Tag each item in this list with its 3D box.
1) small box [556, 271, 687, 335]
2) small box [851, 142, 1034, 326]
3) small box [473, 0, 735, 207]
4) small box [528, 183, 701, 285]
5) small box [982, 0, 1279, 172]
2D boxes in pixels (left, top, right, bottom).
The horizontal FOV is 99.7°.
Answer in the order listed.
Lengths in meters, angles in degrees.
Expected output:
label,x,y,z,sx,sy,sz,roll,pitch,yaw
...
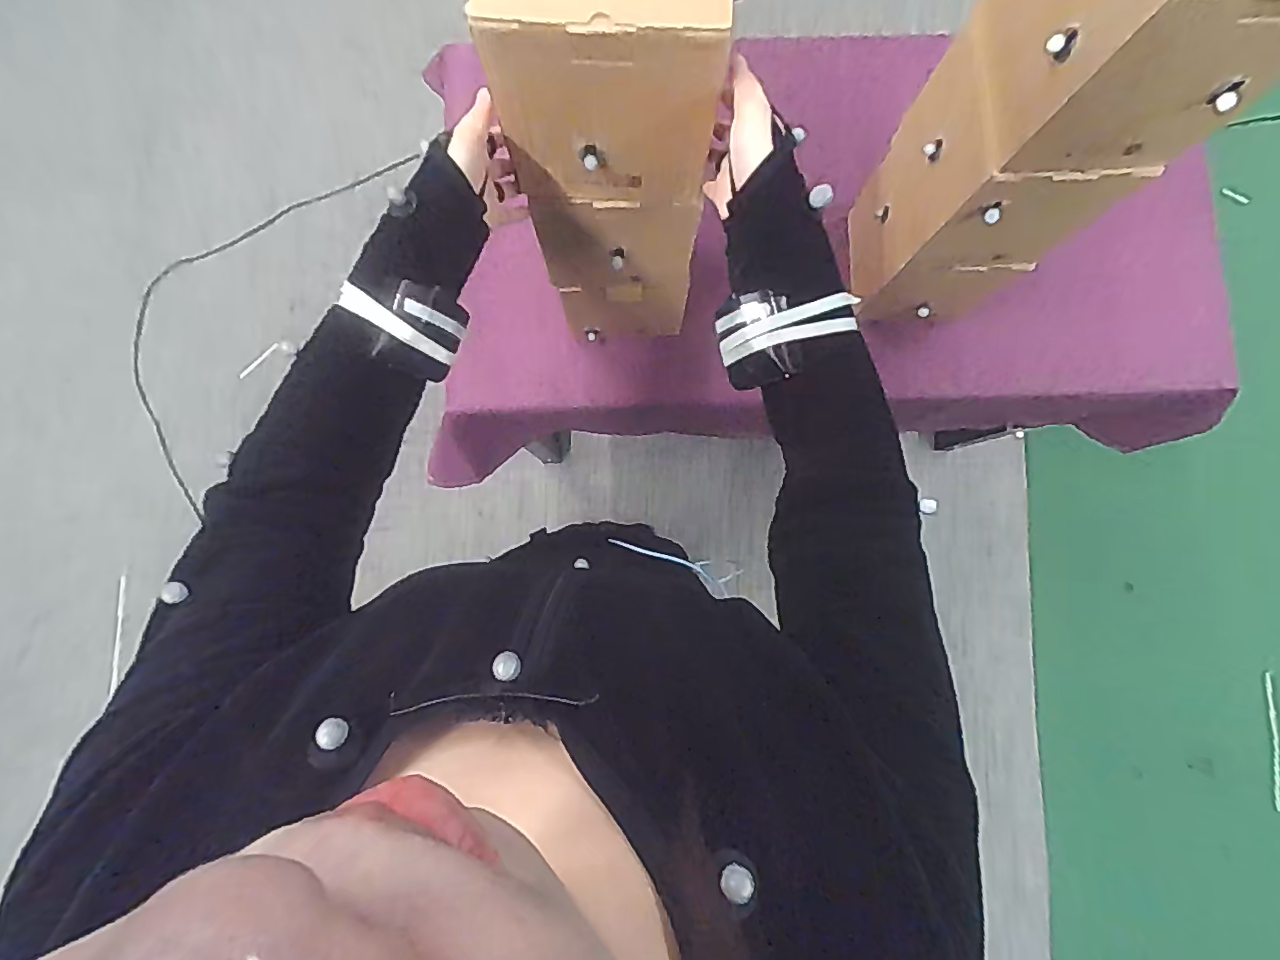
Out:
label,x,y,z,sx,sy,sz,roll,pitch,yaw
small box,-0.024,-0.310,0.751,0.168,0.176,0.179,-2,83,-1
small box,0.409,-0.334,0.759,0.168,0.176,0.179,1,84,0
small box,-0.021,-0.350,0.426,0.168,0.176,0.179,2,84,-1
small box,-0.024,-0.327,0.588,0.168,0.176,0.179,-1,85,-2
small box,0.411,-0.376,0.434,0.168,0.176,0.179,-2,83,-1
